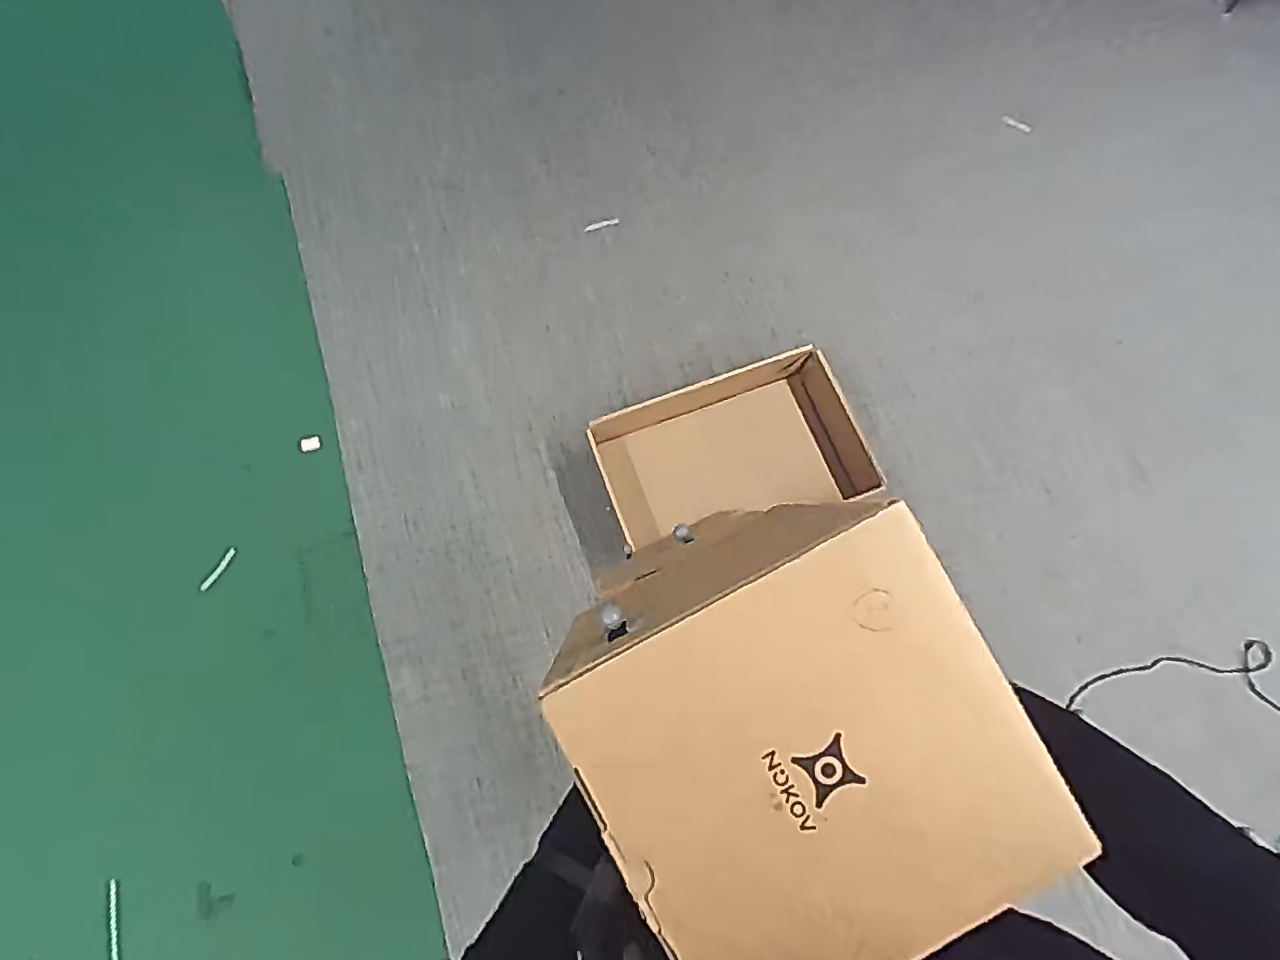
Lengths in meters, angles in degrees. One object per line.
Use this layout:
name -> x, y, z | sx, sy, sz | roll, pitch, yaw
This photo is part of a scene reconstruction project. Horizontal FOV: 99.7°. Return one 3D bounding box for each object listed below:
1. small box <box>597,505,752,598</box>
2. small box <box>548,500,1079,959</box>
small box -> 0.066, 0.140, 0.631 | 0.179, 0.176, 0.168 | -25, 87, -2
small box -> 0.072, 0.120, 0.306 | 0.179, 0.176, 0.168 | -29, 88, -1
